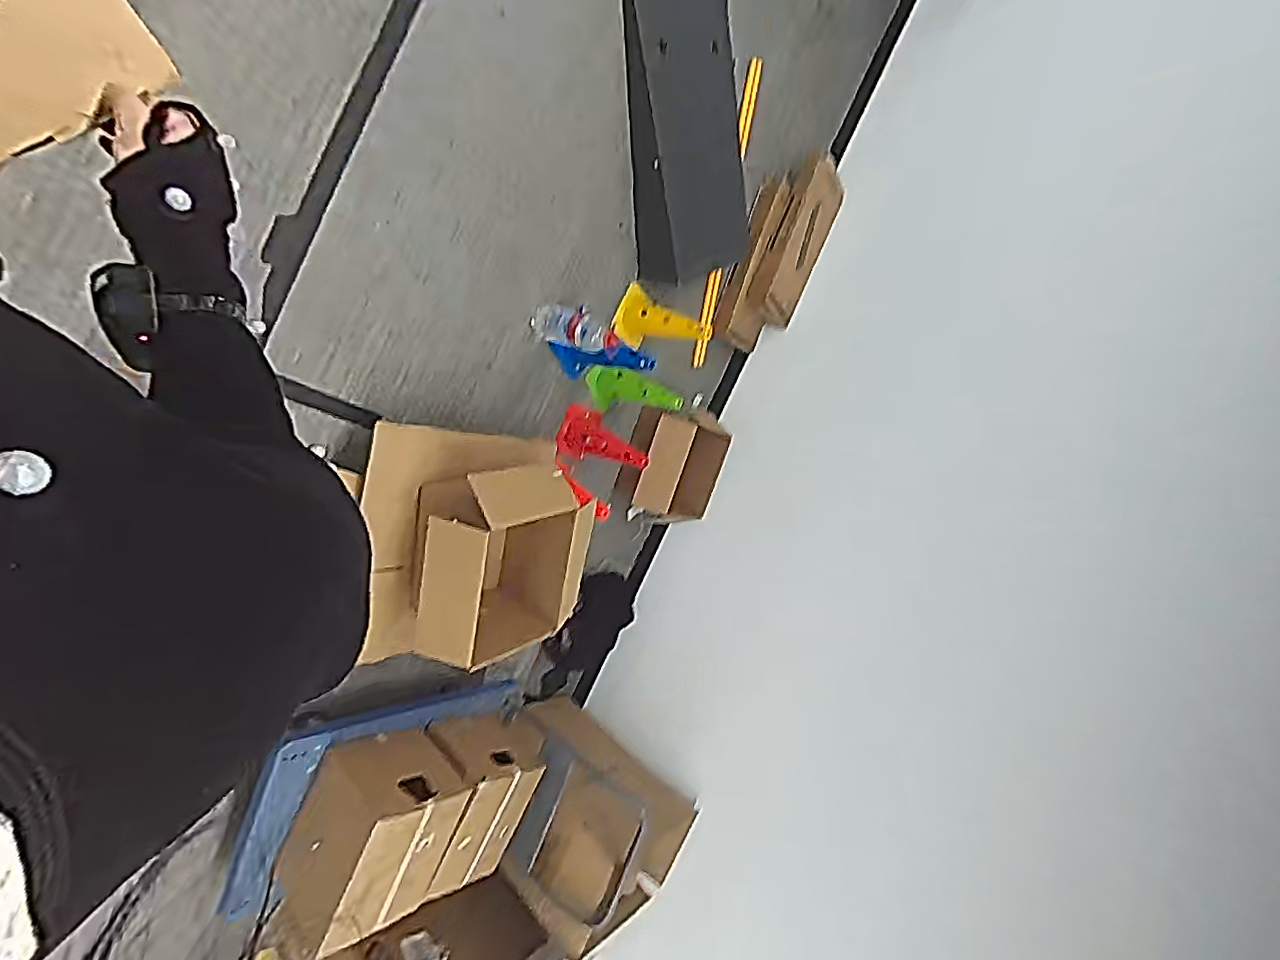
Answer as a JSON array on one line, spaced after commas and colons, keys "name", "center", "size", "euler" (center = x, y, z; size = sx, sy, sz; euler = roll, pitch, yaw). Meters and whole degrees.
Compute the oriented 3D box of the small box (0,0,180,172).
[{"name": "small box", "center": [-0.493, -0.350, 0.383], "size": [0.168, 0.176, 0.179], "euler": [-48, 143, -18]}]
